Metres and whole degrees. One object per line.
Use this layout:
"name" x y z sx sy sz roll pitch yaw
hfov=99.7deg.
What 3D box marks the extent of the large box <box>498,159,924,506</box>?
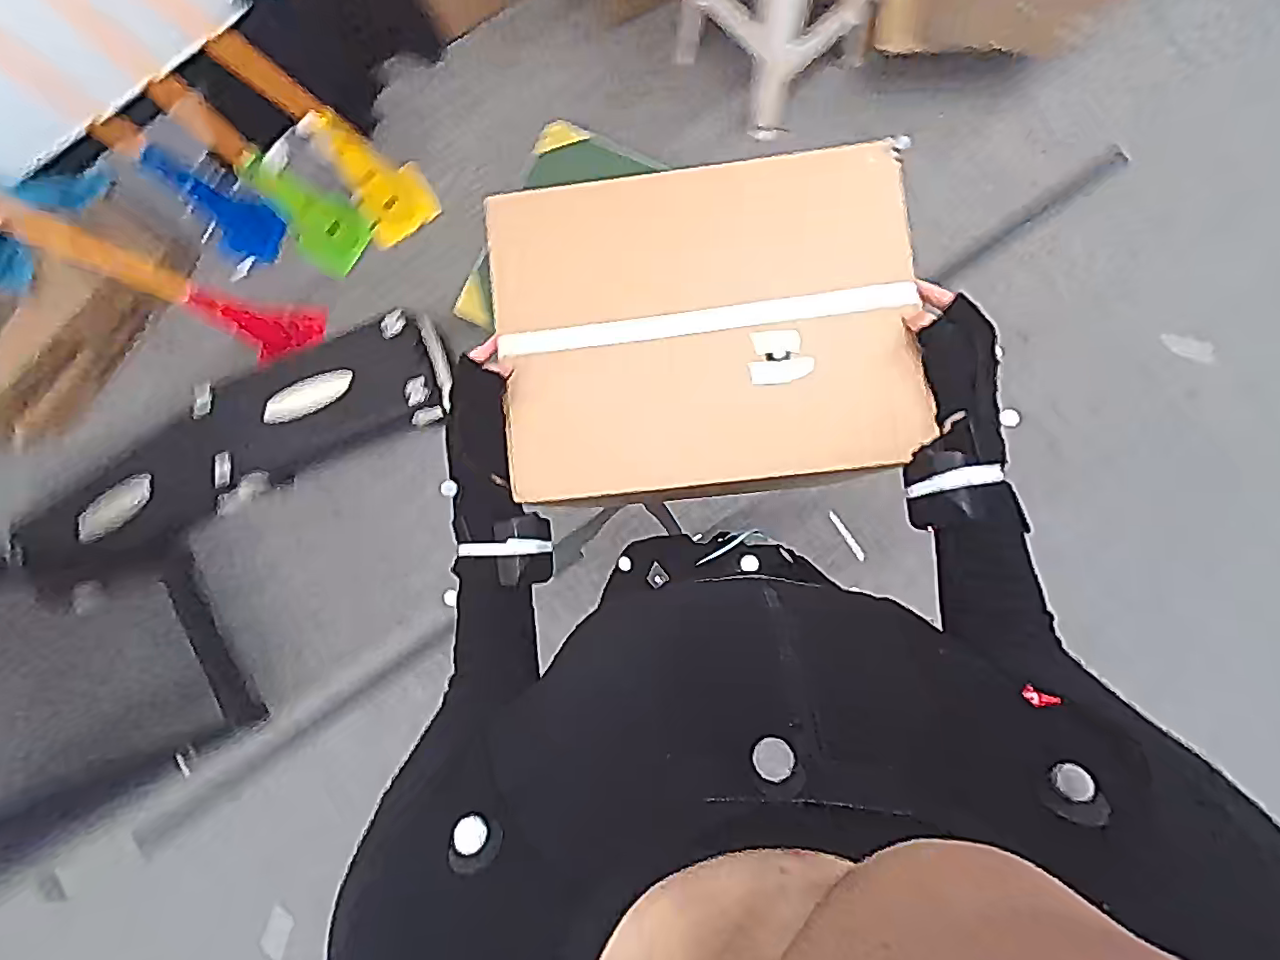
"large box" 0.070 -0.140 0.684 0.408 0.320 0.320 -5 87 3
